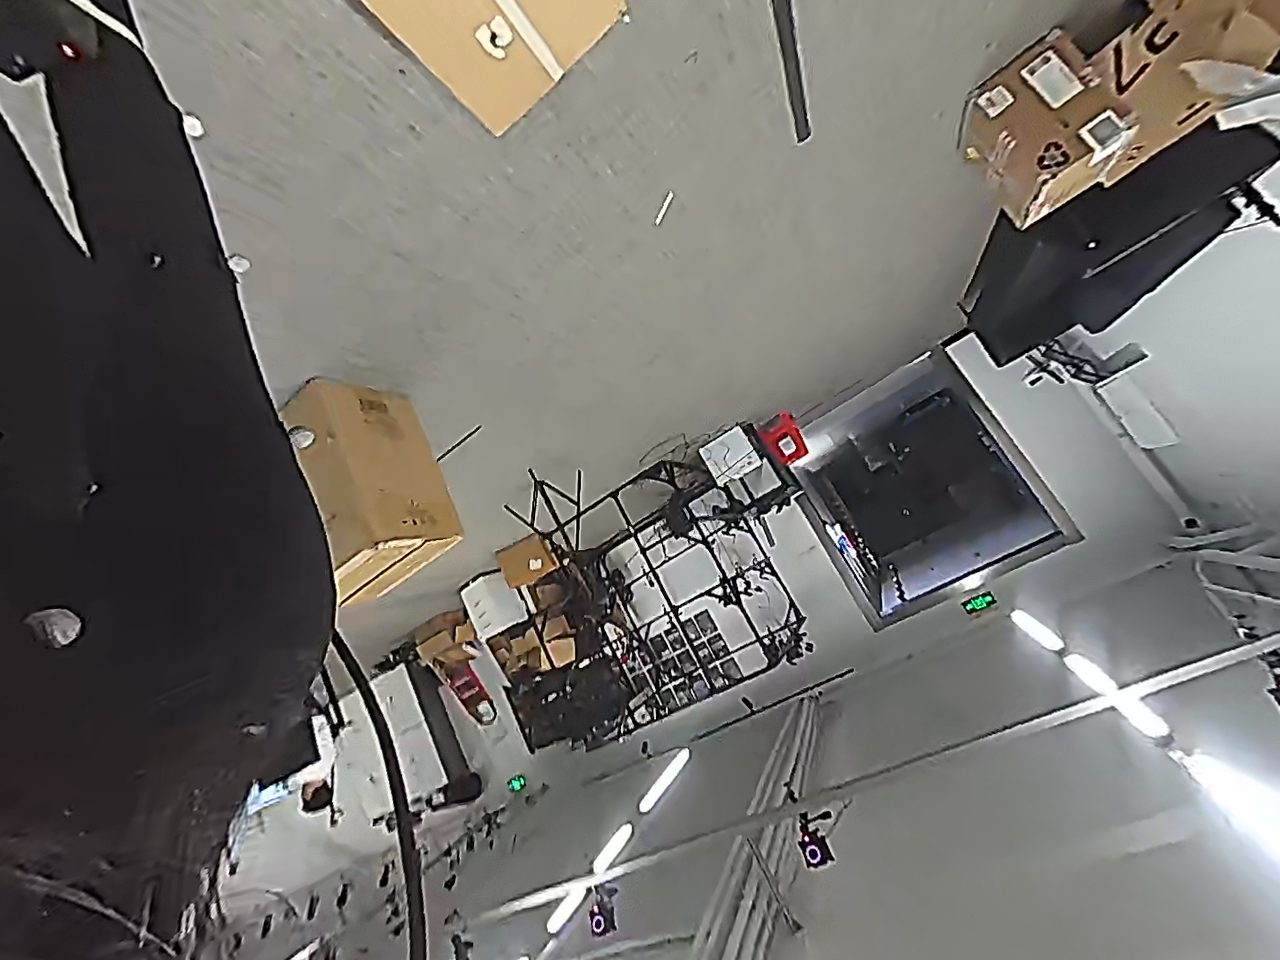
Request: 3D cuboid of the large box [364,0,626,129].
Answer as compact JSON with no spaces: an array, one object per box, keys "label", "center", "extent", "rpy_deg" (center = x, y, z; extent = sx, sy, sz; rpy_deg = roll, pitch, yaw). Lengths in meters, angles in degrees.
[{"label":"large box","center":[-0.287,-0.855,0.799],"extent":[0.320,0.320,0.408],"rpy_deg":[-31,168,18]}]
